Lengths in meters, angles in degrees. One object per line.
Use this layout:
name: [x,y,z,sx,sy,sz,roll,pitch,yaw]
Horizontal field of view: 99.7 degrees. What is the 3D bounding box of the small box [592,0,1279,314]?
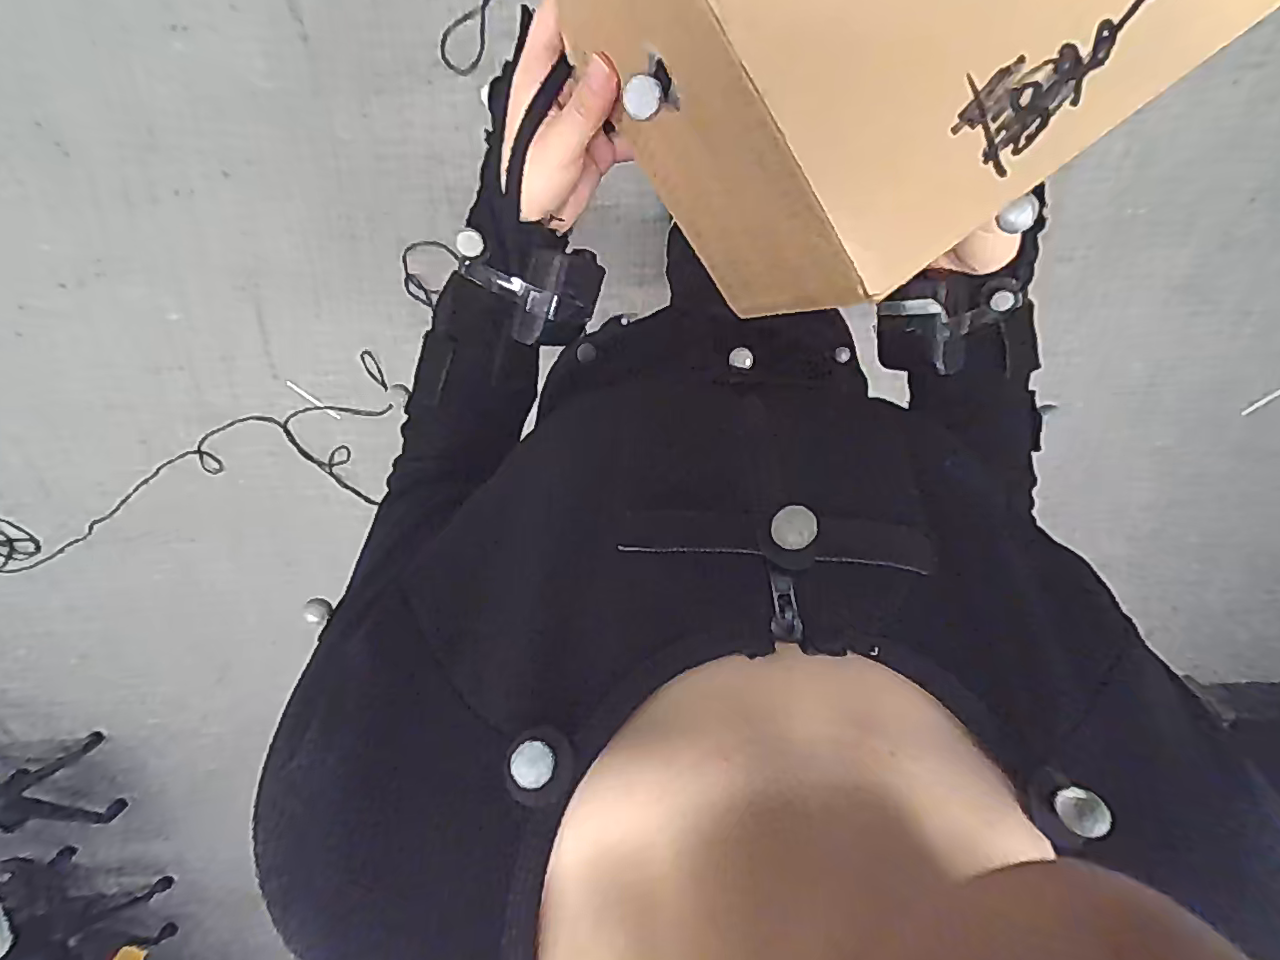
small box: [0.089,-0.189,0.226,0.168,0.176,0.179,-37,103,6]
